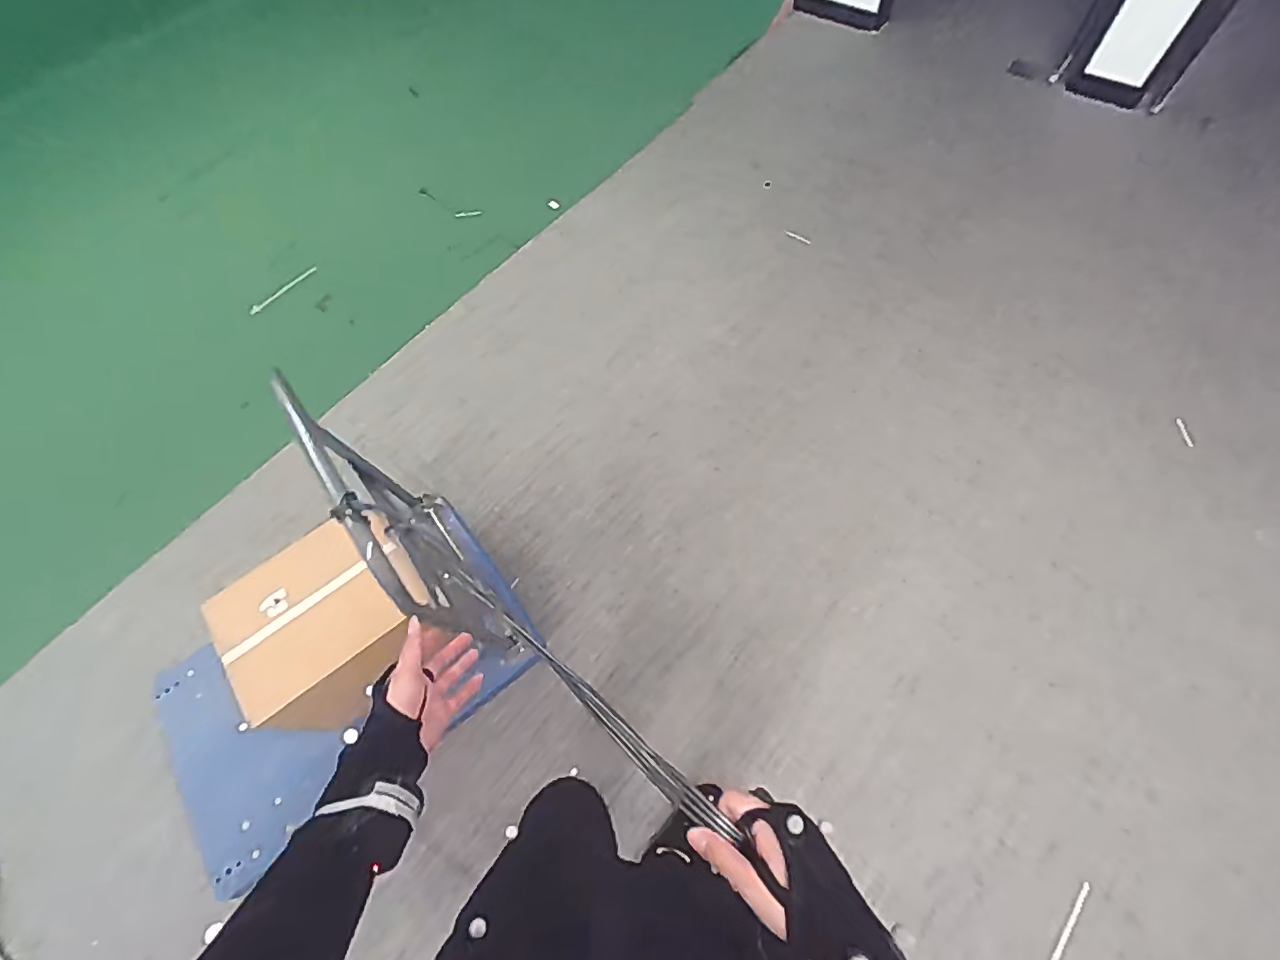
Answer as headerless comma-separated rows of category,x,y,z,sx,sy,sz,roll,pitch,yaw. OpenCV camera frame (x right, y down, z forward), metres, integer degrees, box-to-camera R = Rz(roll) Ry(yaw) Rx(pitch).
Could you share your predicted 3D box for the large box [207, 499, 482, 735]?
large box,-0.653,0.322,1.254,0.408,0.320,0.320,-36,67,-11
